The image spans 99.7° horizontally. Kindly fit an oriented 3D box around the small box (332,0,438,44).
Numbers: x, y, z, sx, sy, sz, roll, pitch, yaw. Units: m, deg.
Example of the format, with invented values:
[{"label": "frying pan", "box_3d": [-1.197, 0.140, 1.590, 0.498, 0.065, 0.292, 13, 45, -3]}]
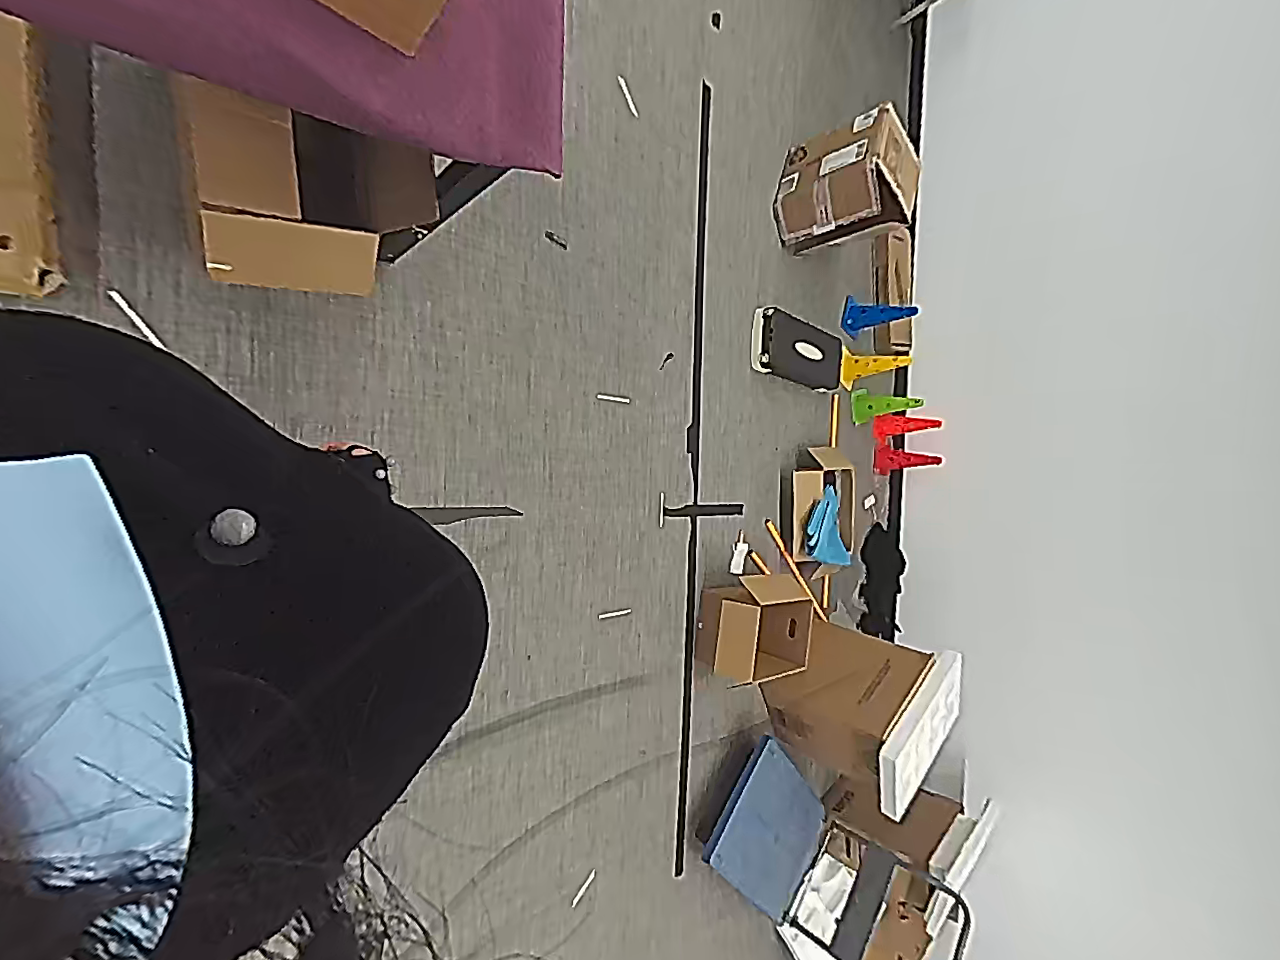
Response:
[{"label": "small box", "box_3d": [-0.320, -0.676, 0.635, 0.179, 0.176, 0.168, 7, 88, -43]}]
